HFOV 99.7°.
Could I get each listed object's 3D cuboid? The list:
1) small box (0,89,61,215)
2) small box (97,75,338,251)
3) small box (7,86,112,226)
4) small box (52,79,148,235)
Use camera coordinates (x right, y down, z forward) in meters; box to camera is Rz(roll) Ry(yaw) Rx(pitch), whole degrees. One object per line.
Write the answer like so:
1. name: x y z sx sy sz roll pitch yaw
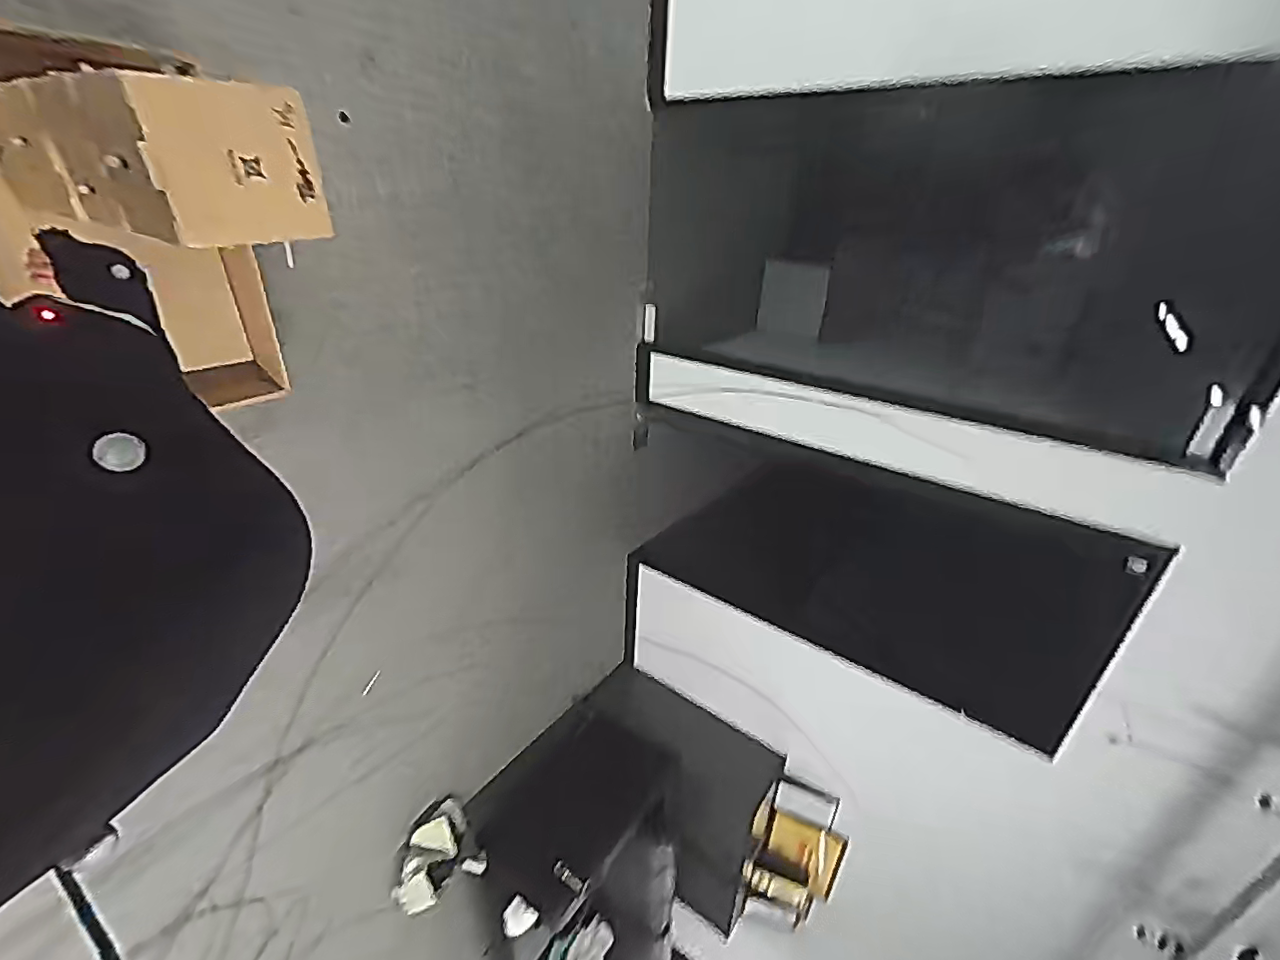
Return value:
1. small box: -0.922 -0.538 0.903 0.179 0.176 0.168 -30 133 -47
2. small box: -0.519 -0.386 0.670 0.179 0.176 0.168 -33 136 -44
3. small box: -0.789 -0.487 0.824 0.179 0.176 0.168 -32 134 -46
4. small box: -0.654 -0.439 0.747 0.179 0.176 0.168 -34 137 -45
